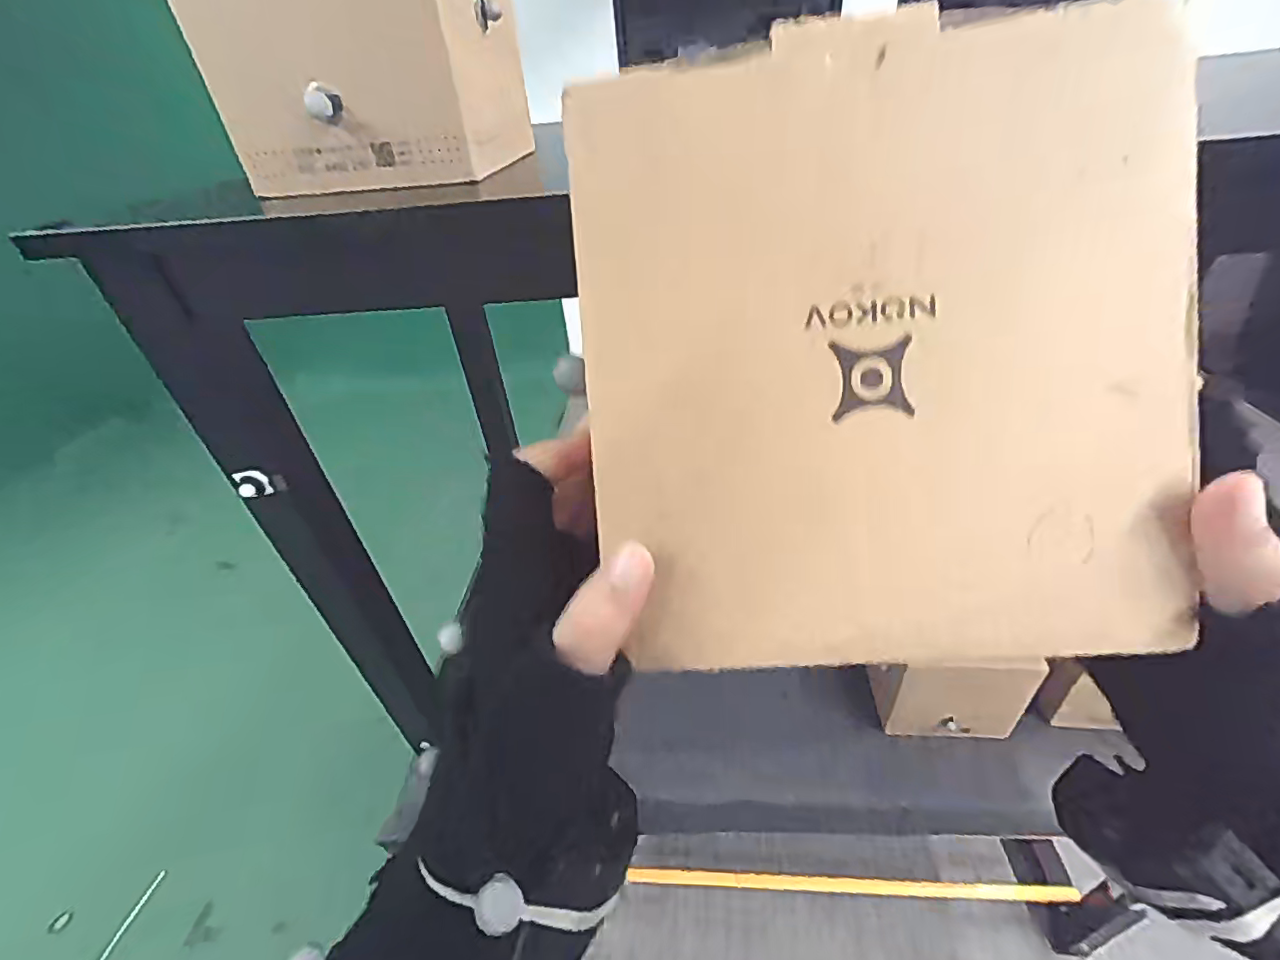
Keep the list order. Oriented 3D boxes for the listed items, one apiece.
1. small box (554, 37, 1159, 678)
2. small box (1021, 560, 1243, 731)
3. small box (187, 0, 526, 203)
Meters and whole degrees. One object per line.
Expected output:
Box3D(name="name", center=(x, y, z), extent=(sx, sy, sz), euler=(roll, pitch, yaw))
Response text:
Box3D(name="small box", center=(0.069, -0.033, 0.238), extent=(0.168, 0.179, 0.176), euler=(-4, 3, 6))
Box3D(name="small box", center=(0.657, 0.230, 0.766), extent=(0.168, 0.176, 0.179), euler=(0, 36, 9))
Box3D(name="small box", center=(-0.192, -0.313, 0.400), extent=(0.168, 0.176, 0.179), euler=(-1, 38, 6))
